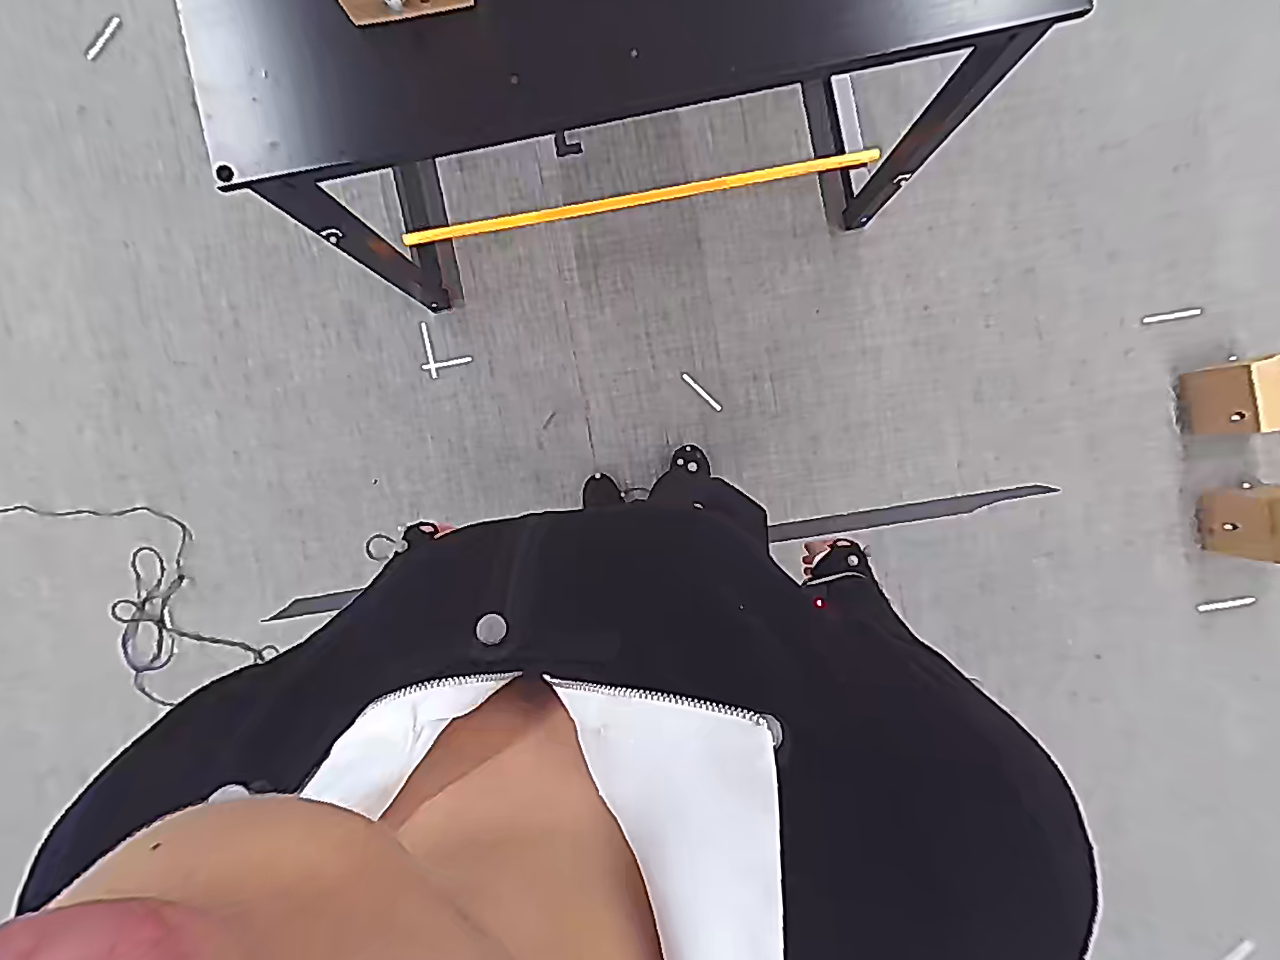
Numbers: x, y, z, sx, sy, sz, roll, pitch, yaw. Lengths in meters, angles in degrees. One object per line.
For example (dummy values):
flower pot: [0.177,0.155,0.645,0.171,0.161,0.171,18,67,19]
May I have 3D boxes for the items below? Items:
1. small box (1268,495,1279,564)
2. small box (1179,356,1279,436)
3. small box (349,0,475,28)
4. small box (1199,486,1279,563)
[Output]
small box: [1.604,0.114,1.230,0.168,0.176,0.179,-10,94,1]
small box: [1.543,-0.212,1.377,0.168,0.176,0.179,-13,92,1]
small box: [-0.314,-0.705,0.649,0.168,0.176,0.179,-10,93,2]
small box: [1.606,0.109,1.395,0.179,0.176,0.168,-8,93,2]
